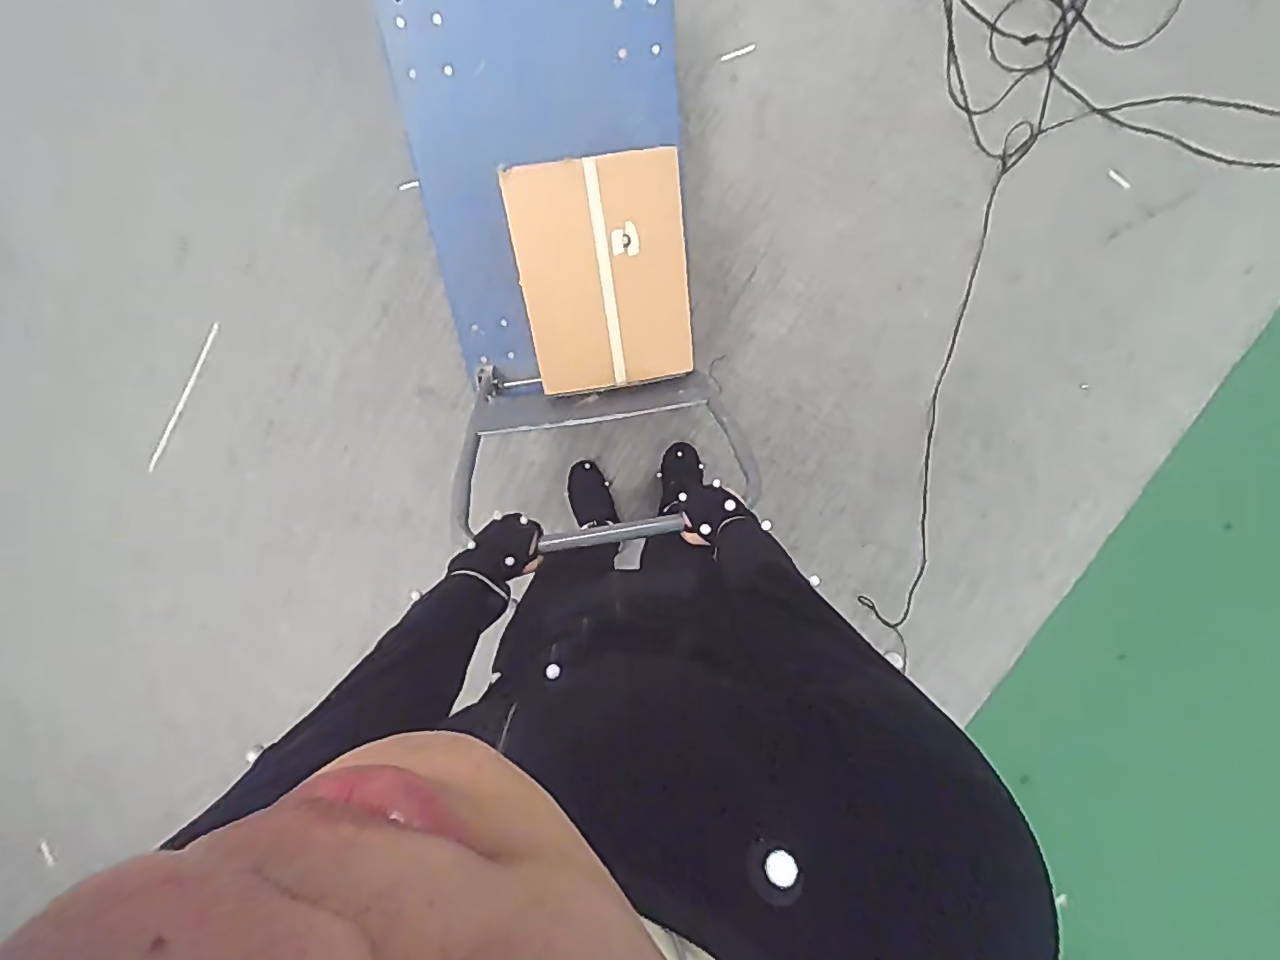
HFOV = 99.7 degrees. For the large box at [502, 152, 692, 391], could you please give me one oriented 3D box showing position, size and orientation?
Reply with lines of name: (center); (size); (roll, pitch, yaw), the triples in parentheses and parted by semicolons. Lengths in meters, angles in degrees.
large box: (-0.084, -0.447, 1.171); (0.320, 0.320, 0.408); (-10, 118, -4)
